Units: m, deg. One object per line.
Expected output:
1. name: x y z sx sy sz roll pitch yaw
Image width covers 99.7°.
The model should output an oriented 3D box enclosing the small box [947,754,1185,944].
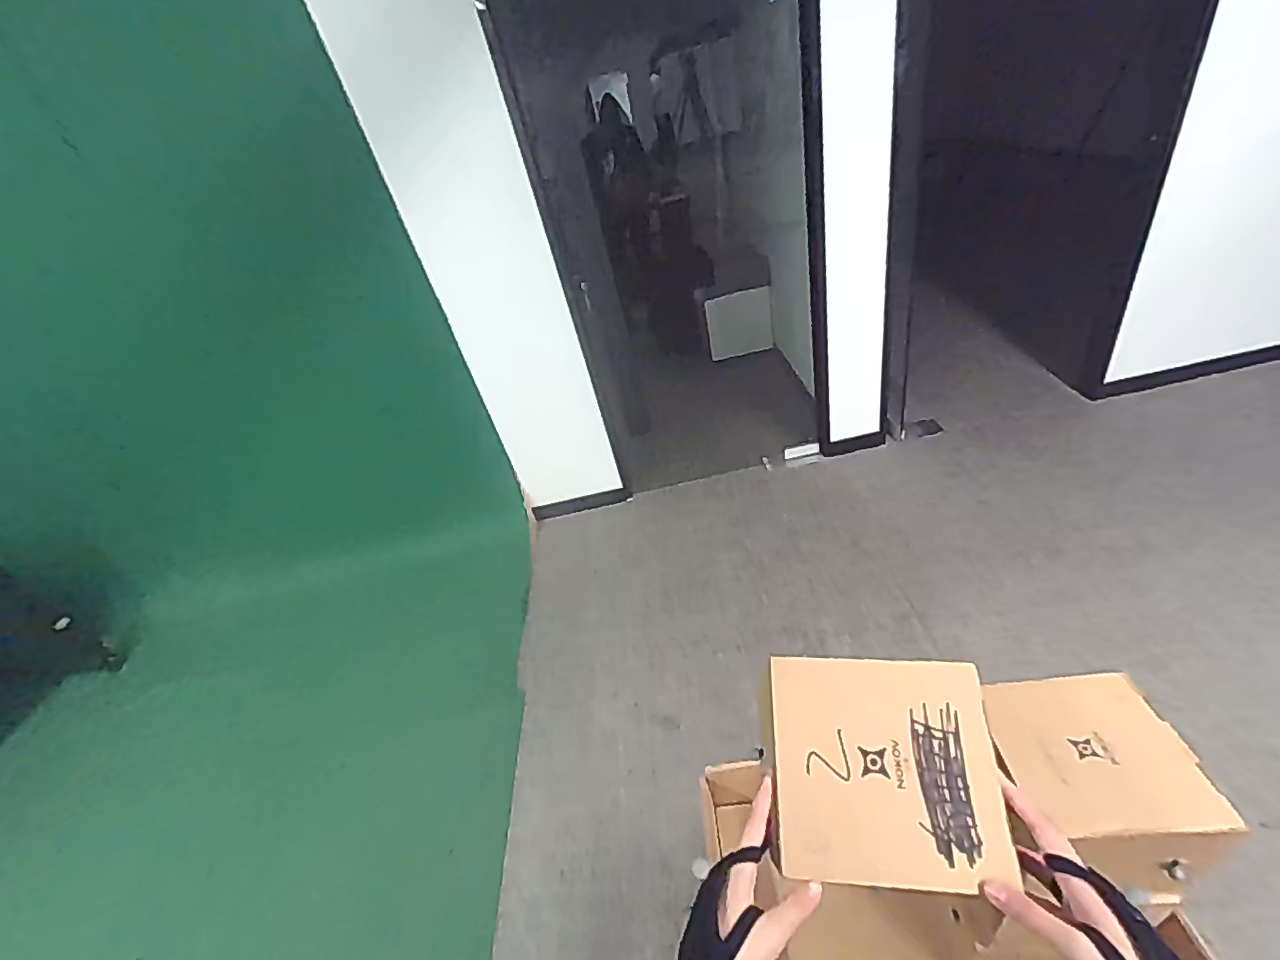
1. small box: 0.514 0.467 0.691 0.179 0.176 0.168 -9 36 9

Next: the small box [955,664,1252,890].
1. small box: 0.484 0.332 0.604 0.179 0.176 0.168 -9 35 9
